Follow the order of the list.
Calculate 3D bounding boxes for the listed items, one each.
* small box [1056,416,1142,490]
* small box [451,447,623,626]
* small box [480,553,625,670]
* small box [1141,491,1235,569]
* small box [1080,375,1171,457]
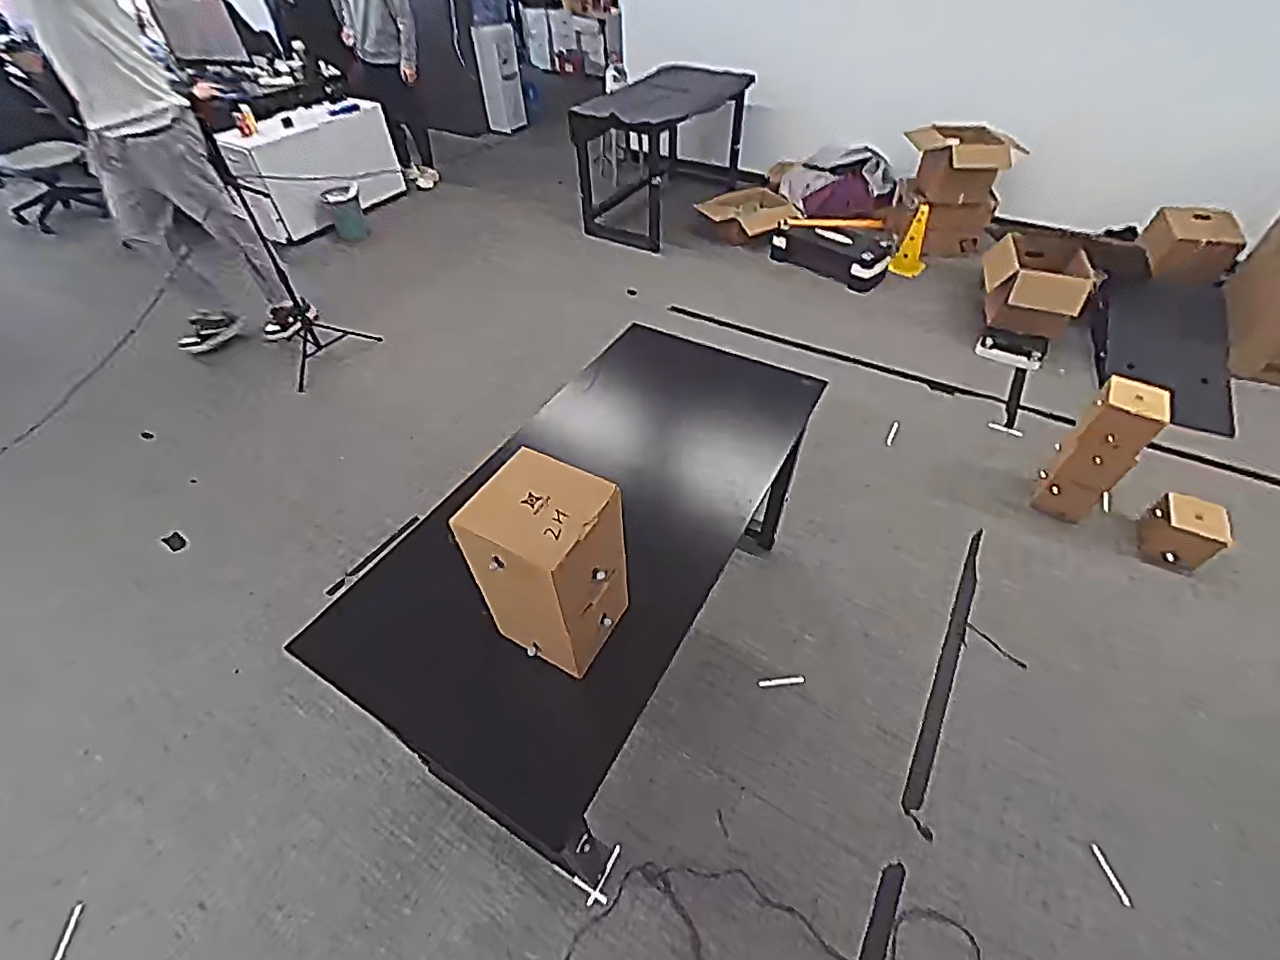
[{"bbox_3d":[1.602,-0.093,1.895,0.179,0.176,0.168,24,53,20],"label":"small box"},{"bbox_3d":[-0.140,0.086,0.799,0.179,0.176,0.168,22,53,20],"label":"small box"},{"bbox_3d":[-0.135,0.198,0.920,0.179,0.176,0.168,22,52,19],"label":"small box"},{"bbox_3d":[1.887,0.174,1.872,0.168,0.176,0.179,21,53,21],"label":"small box"},{"bbox_3d":[1.595,-0.210,1.781,0.168,0.176,0.179,26,54,21],"label":"small box"}]
